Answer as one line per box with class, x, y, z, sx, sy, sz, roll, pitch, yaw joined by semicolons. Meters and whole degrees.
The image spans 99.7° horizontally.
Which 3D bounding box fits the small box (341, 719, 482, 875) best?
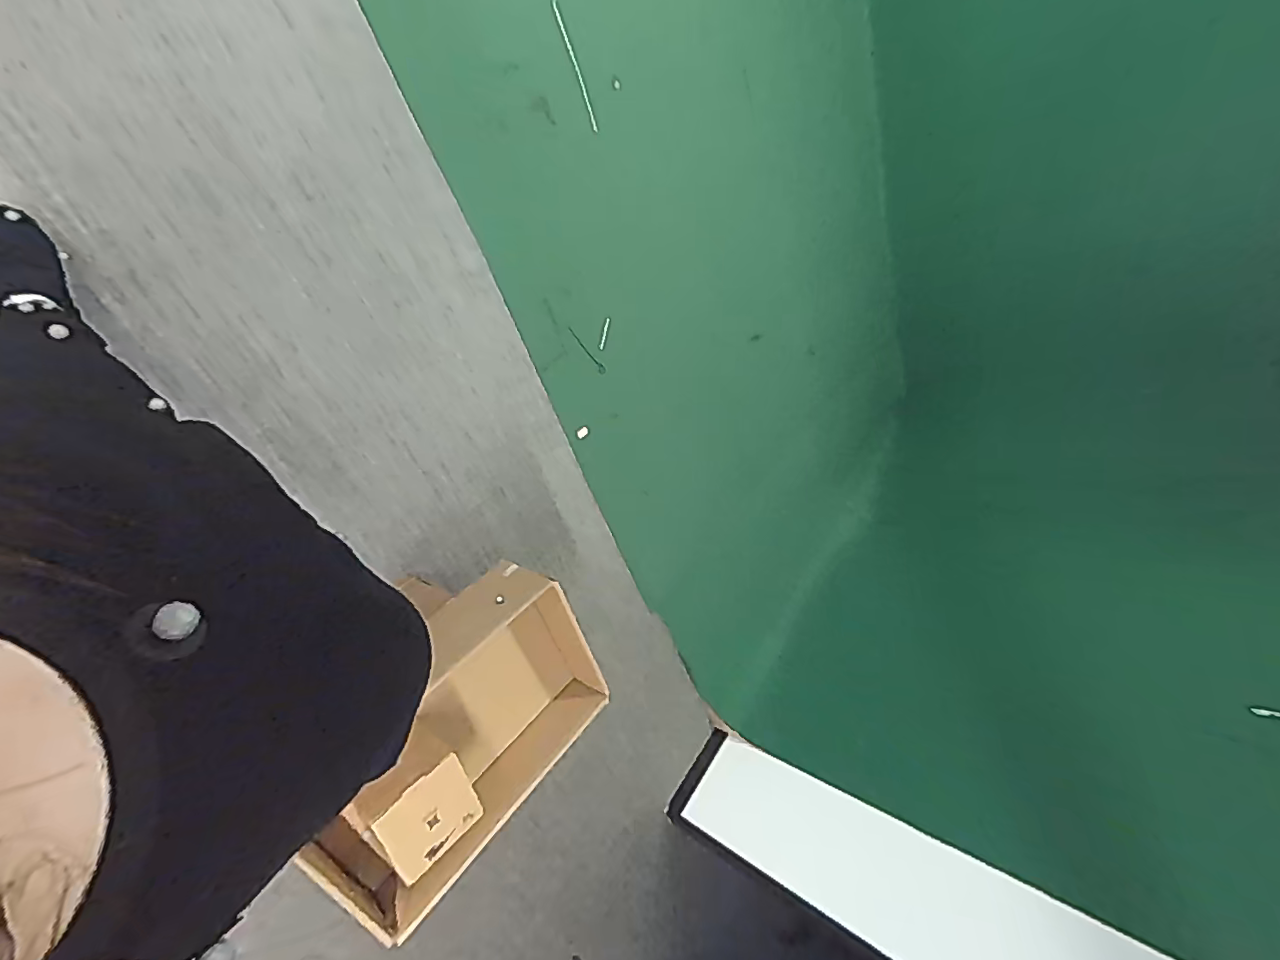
small box;-0.440;0.592;1.041;0.168;0.176;0.179;-32;119;-39
